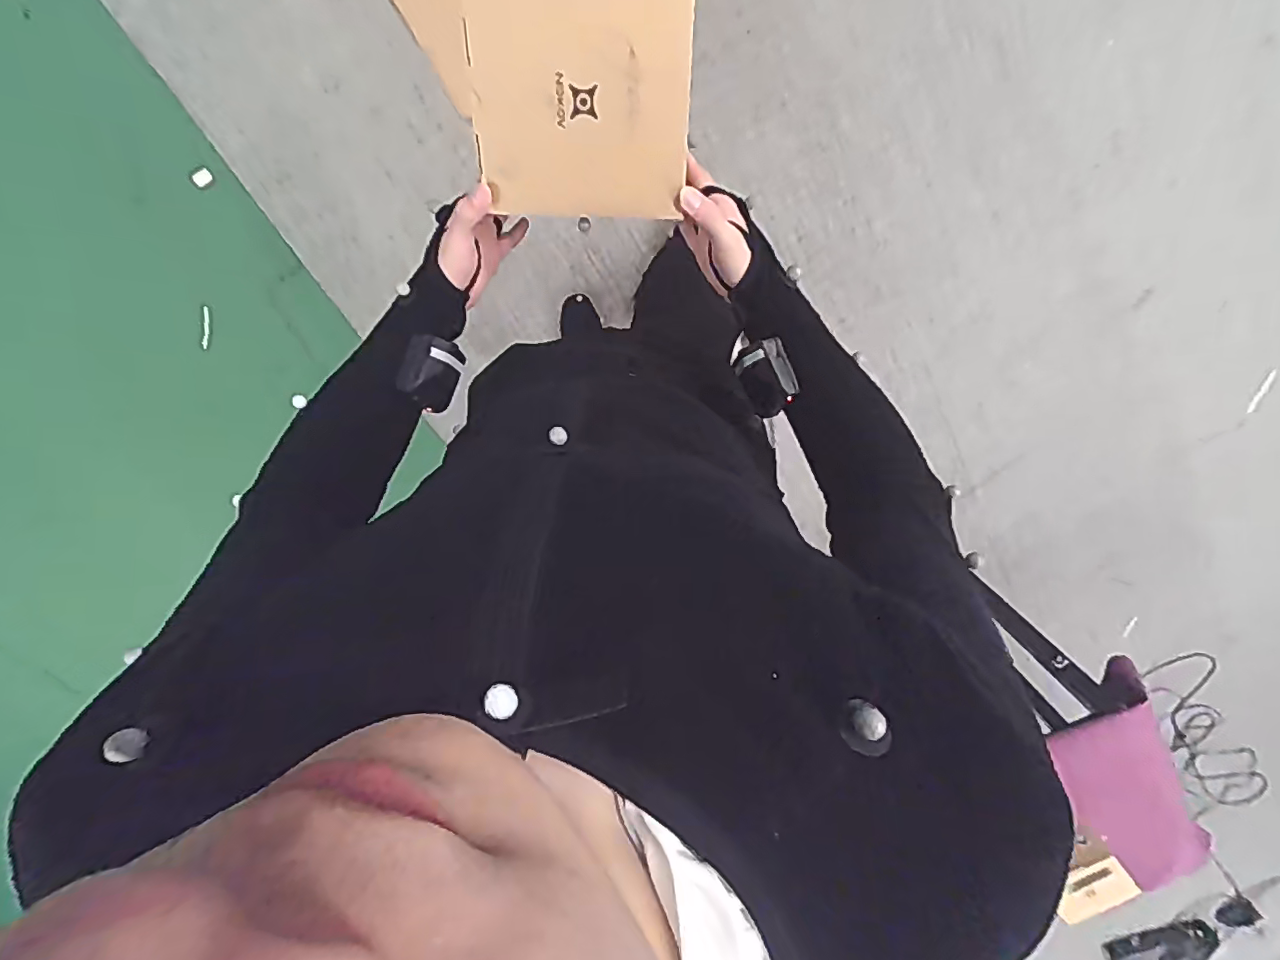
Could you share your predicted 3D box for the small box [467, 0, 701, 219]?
[{"bbox_3d":[-0.040,-0.339,0.496,0.179,0.176,0.168,3,120,2],"label":"small box"}]
